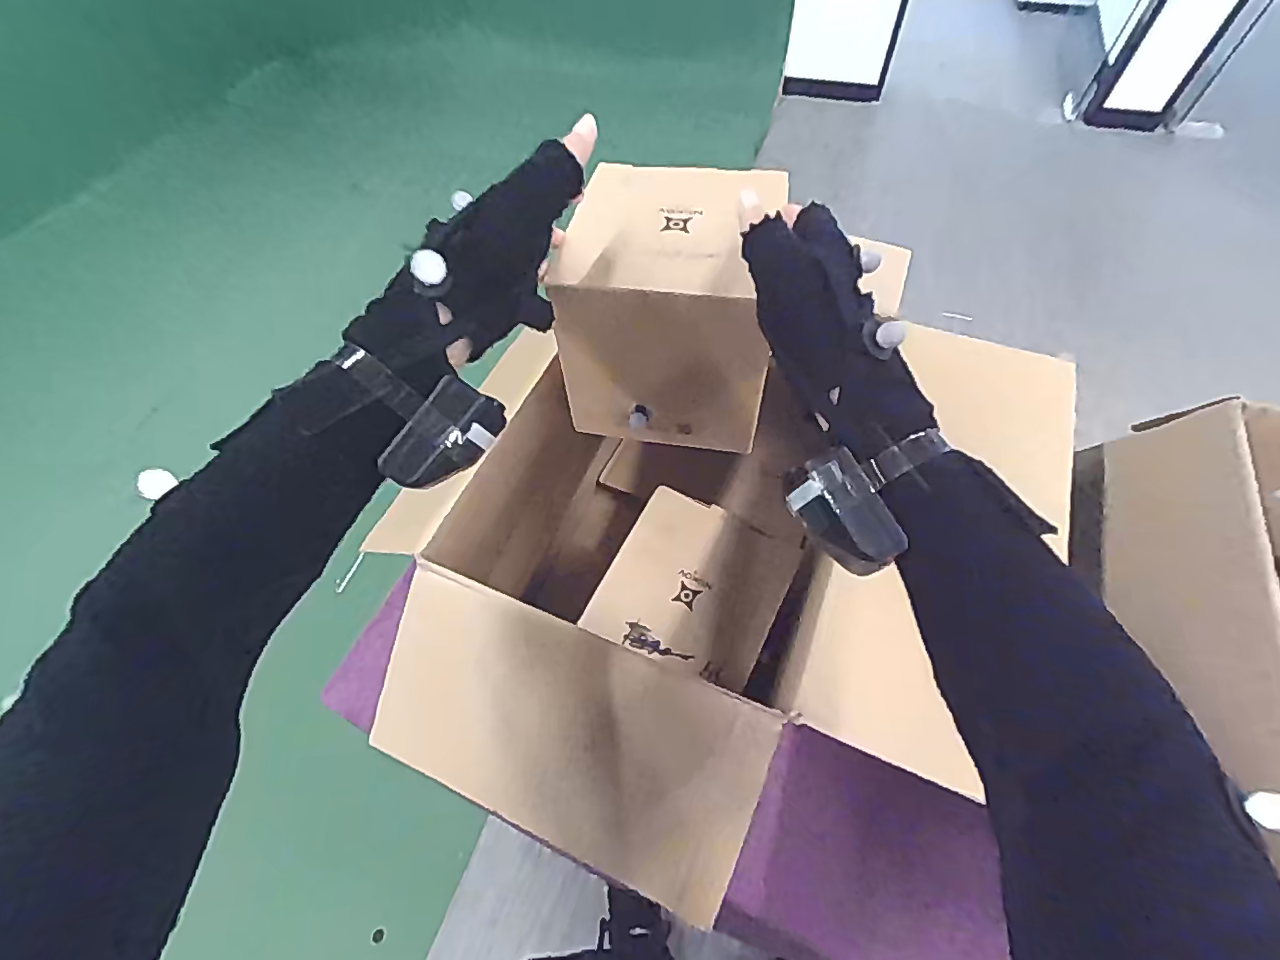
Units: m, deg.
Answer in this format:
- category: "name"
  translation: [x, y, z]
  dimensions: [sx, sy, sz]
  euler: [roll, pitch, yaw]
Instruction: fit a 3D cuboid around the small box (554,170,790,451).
- category: "small box"
  translation: [0.035, -0.152, 0.492]
  dimensions: [0.168, 0.176, 0.179]
  euler: [7, 55, 9]
